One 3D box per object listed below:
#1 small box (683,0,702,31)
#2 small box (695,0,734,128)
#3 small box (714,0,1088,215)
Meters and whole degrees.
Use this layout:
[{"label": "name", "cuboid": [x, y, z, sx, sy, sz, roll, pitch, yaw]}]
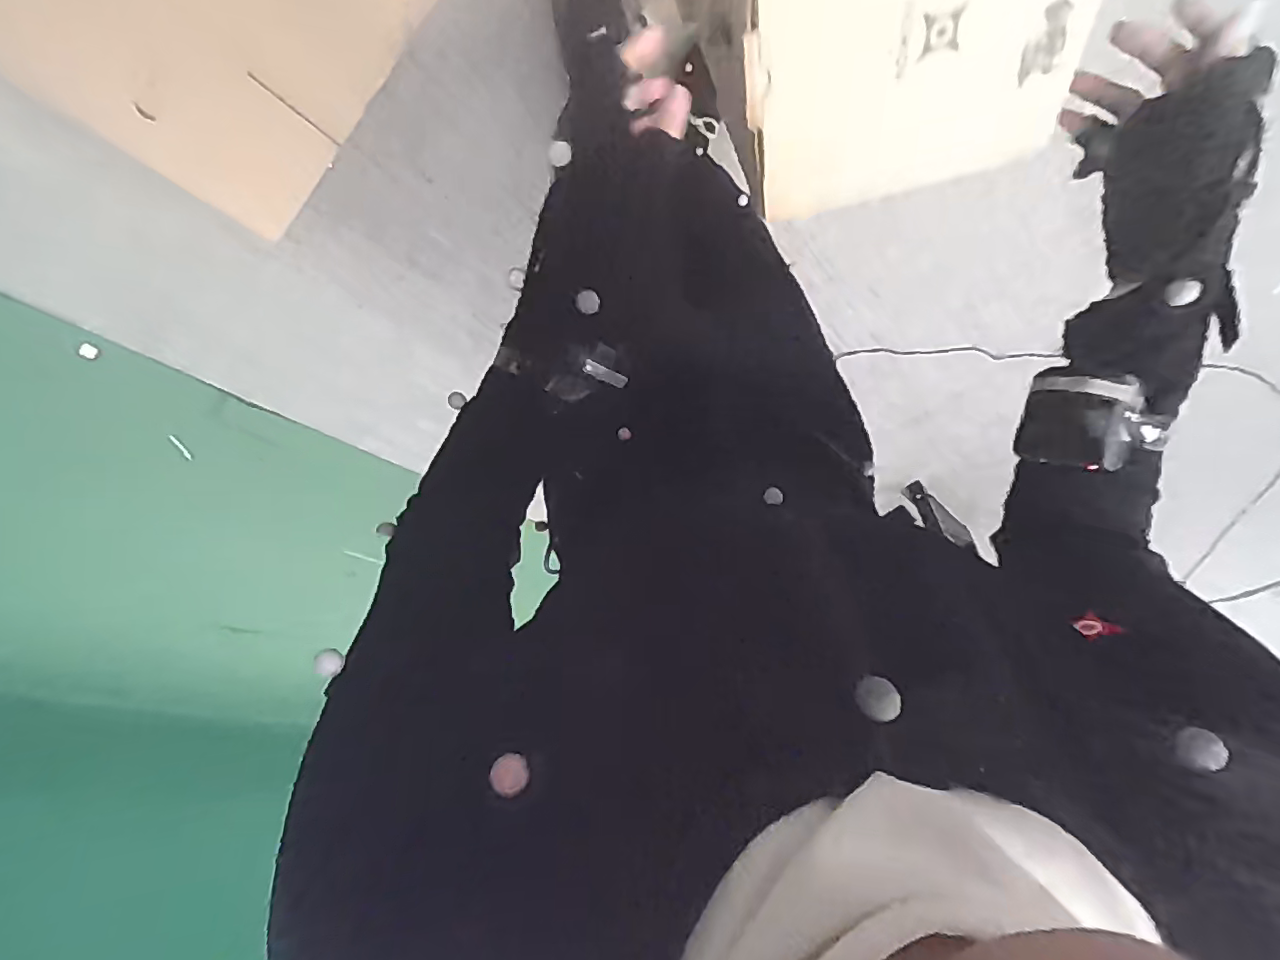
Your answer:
[{"label": "small box", "cuboid": [0.106, -0.573, 0.506, 0.168, 0.176, 0.179, -9, 146, 7]}, {"label": "small box", "cuboid": [0.124, -0.430, 0.424, 0.168, 0.176, 0.179, -13, 146, 13]}, {"label": "small box", "cuboid": [0.138, -0.302, 0.330, 0.179, 0.176, 0.168, -12, 143, 11]}]
